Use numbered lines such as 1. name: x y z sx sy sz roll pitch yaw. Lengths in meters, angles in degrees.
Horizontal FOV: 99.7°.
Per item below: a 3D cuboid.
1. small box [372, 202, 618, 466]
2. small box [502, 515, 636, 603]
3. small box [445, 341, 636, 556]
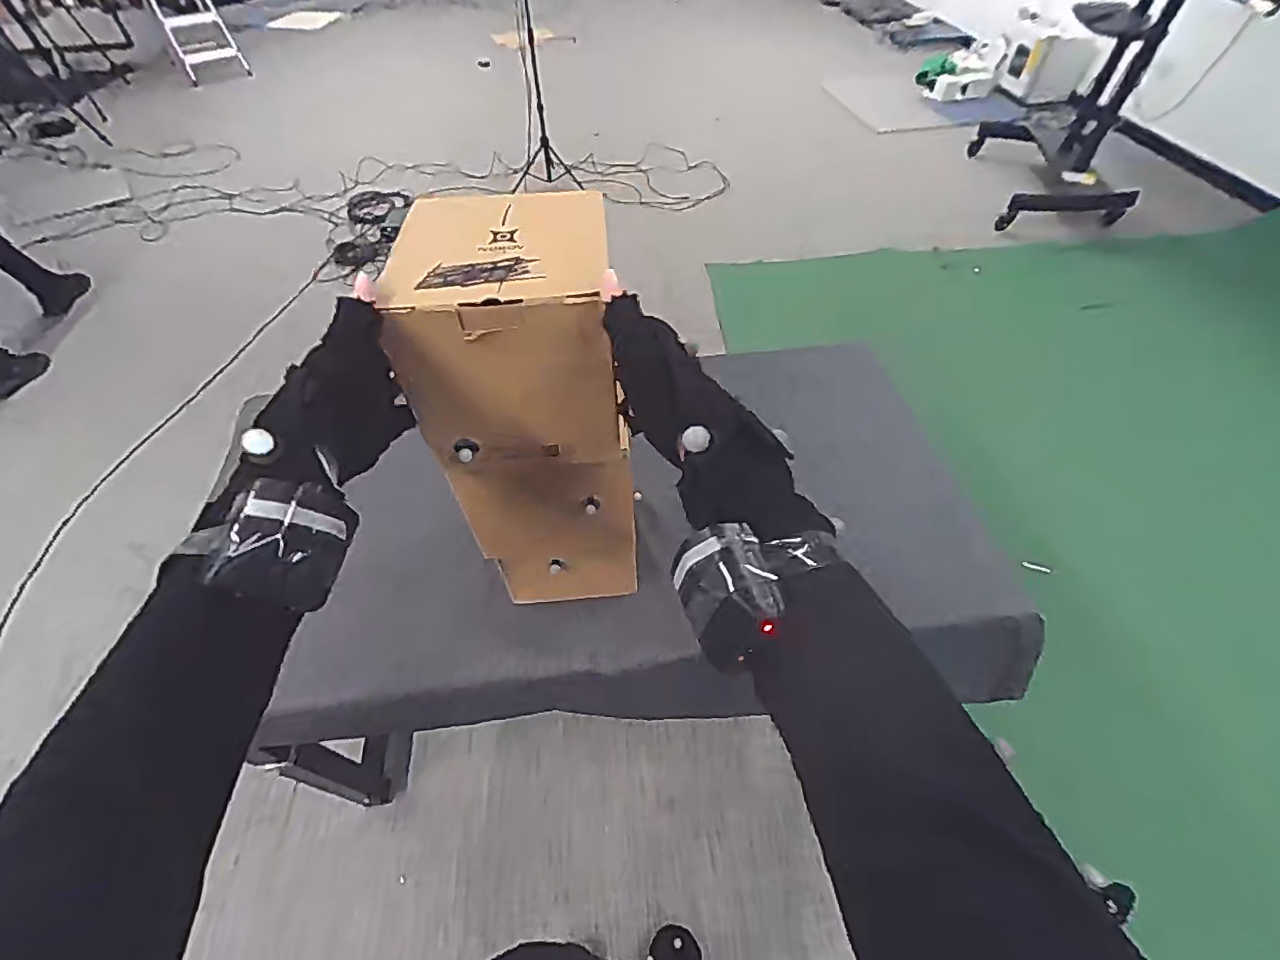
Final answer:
1. small box: -0.109 -0.125 0.488 0.168 0.176 0.179 -4 49 -2
2. small box: -0.103 0.059 0.763 0.179 0.176 0.168 -7 50 -5
3. small box: -0.102 -0.033 0.605 0.179 0.176 0.168 -7 51 -5
